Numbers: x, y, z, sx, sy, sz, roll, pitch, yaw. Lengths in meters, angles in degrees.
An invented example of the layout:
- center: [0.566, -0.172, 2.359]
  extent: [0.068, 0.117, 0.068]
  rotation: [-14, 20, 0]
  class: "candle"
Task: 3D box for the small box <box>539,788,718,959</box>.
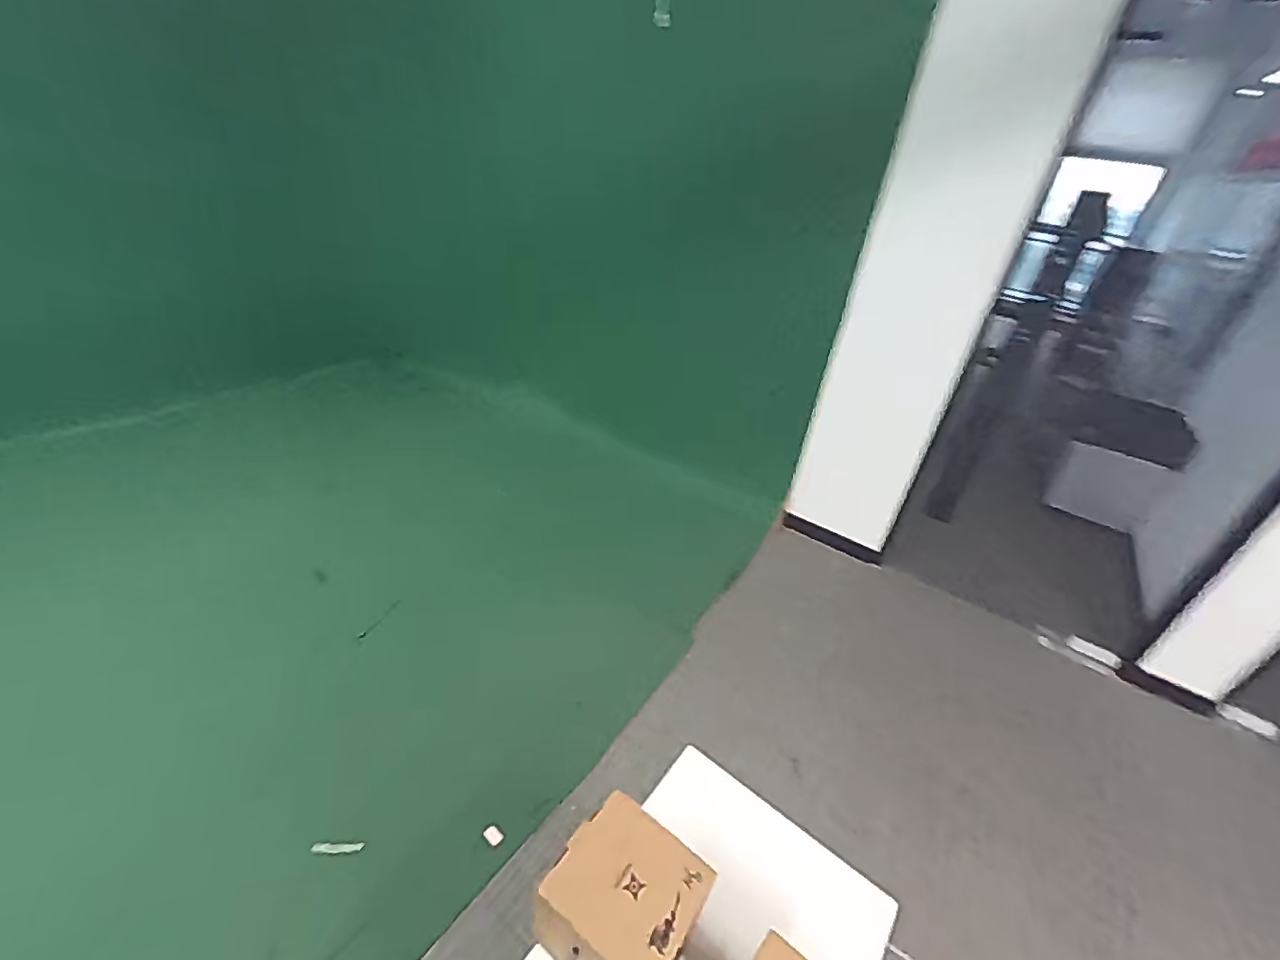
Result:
- center: [-0.022, 0.580, 0.737]
  extent: [0.179, 0.176, 0.168]
  rotation: [27, 38, 27]
  class: "small box"
